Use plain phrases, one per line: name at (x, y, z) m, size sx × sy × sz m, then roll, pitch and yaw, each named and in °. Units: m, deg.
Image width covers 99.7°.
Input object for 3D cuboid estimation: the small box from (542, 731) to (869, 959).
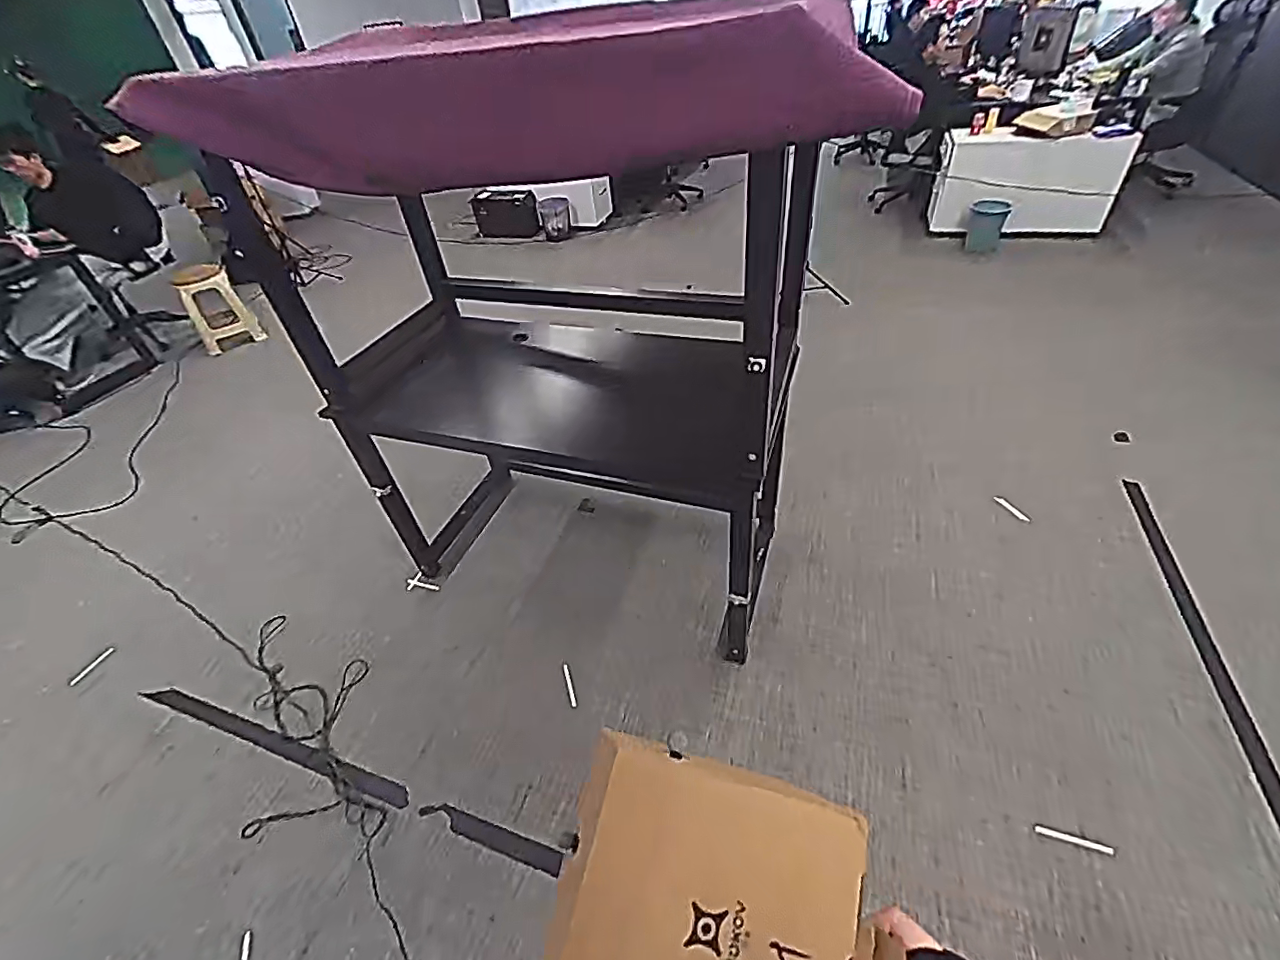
small box at (0.034, 0.291, 0.390) m, size 0.179 × 0.176 × 0.168 m, roll 18°, pitch 67°, yaw -2°
